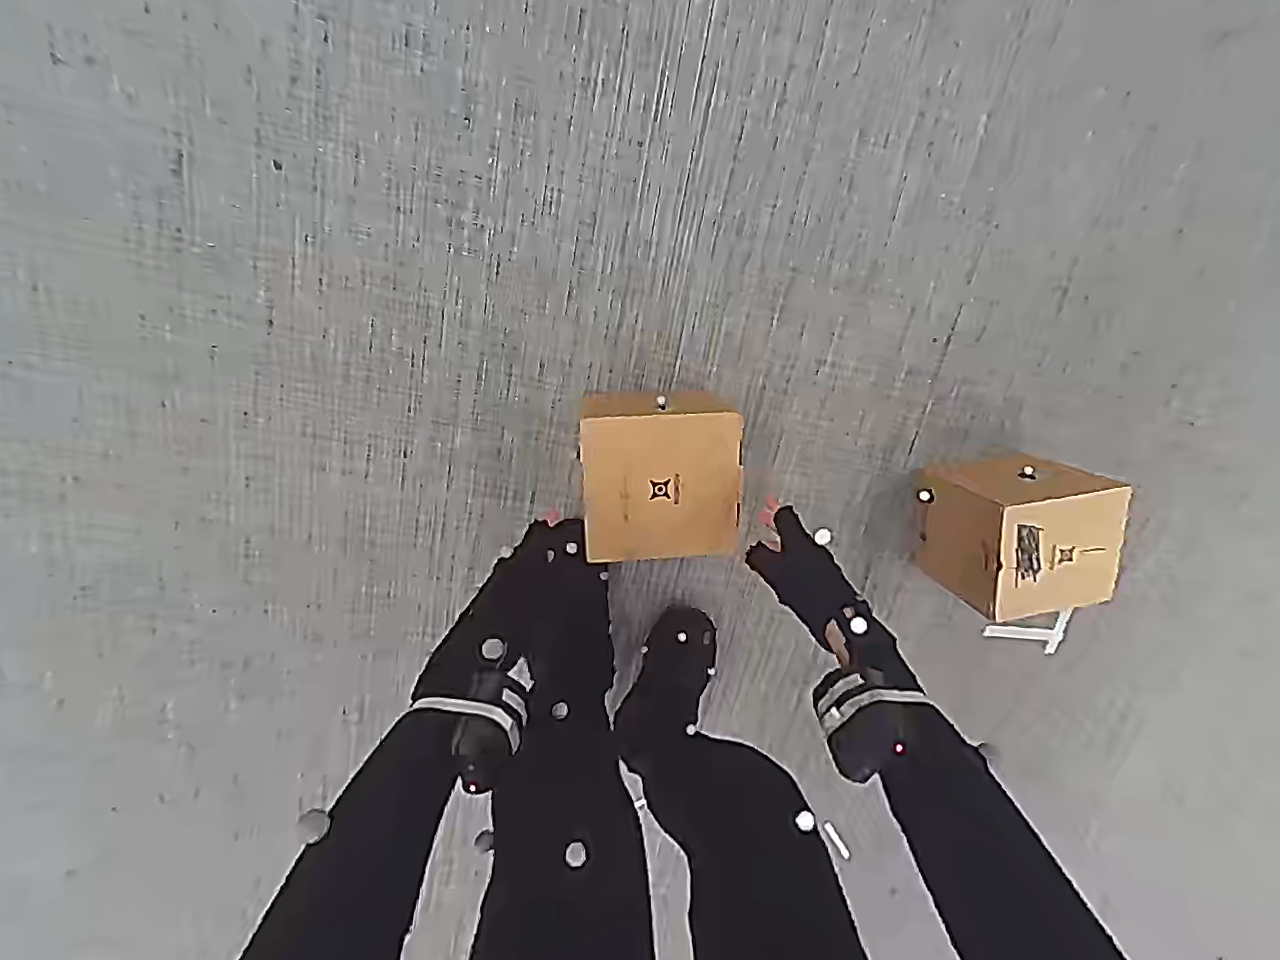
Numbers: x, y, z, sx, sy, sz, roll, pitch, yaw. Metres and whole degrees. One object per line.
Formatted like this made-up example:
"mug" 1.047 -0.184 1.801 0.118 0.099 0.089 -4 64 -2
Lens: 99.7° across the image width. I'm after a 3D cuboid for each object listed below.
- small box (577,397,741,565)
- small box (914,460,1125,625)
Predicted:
"small box" 0.014 -0.009 0.667 0.179 0.176 0.168 -3 107 -6
"small box" 0.515 0.078 0.762 0.179 0.176 0.168 -8 108 -6
